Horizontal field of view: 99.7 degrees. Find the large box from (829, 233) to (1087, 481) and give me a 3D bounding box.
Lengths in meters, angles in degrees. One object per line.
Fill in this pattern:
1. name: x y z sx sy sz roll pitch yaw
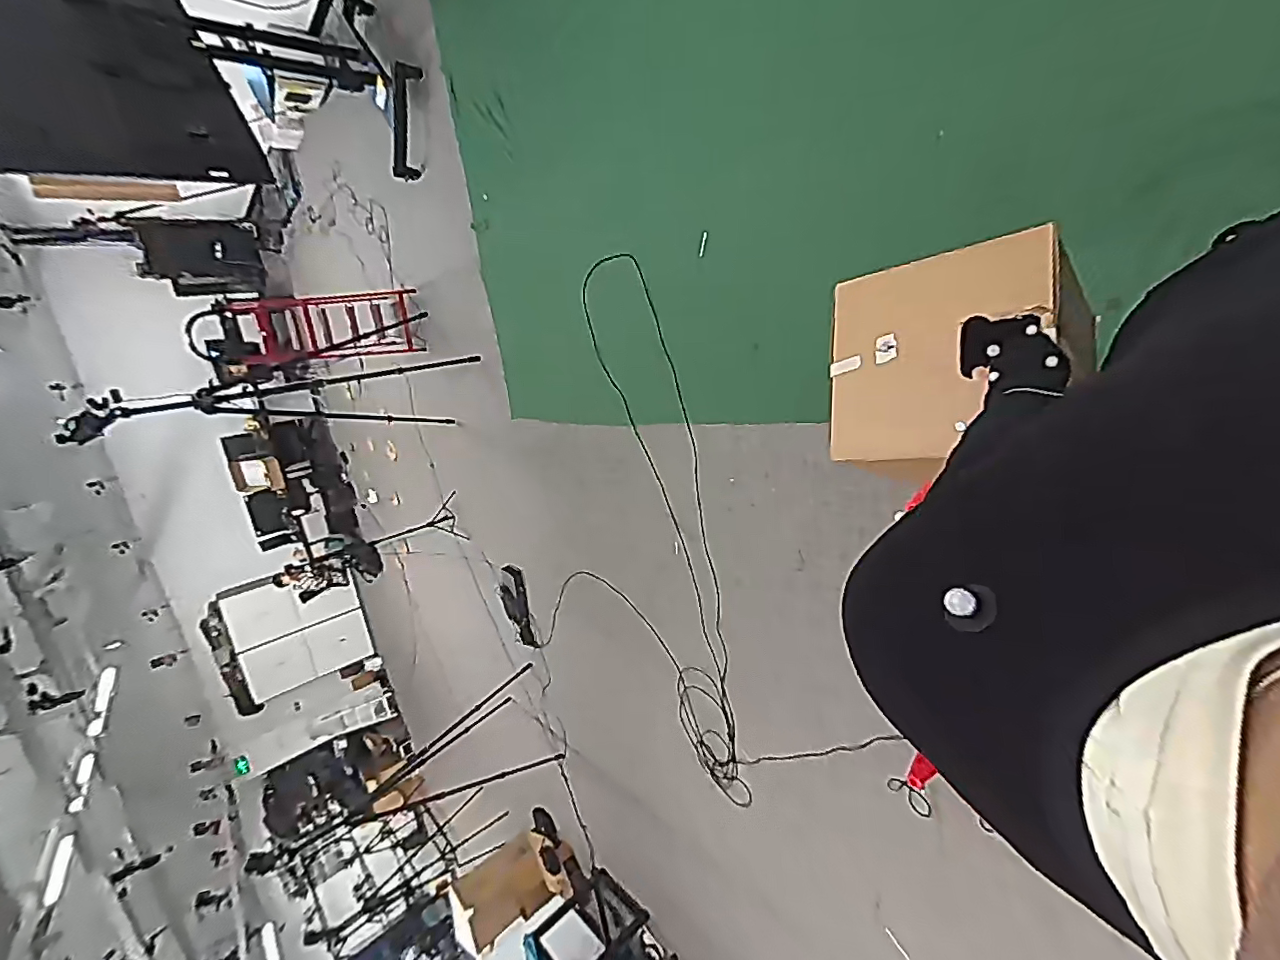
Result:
1. large box: 0.571 -0.169 0.965 0.320 0.408 0.320 -1 84 45
